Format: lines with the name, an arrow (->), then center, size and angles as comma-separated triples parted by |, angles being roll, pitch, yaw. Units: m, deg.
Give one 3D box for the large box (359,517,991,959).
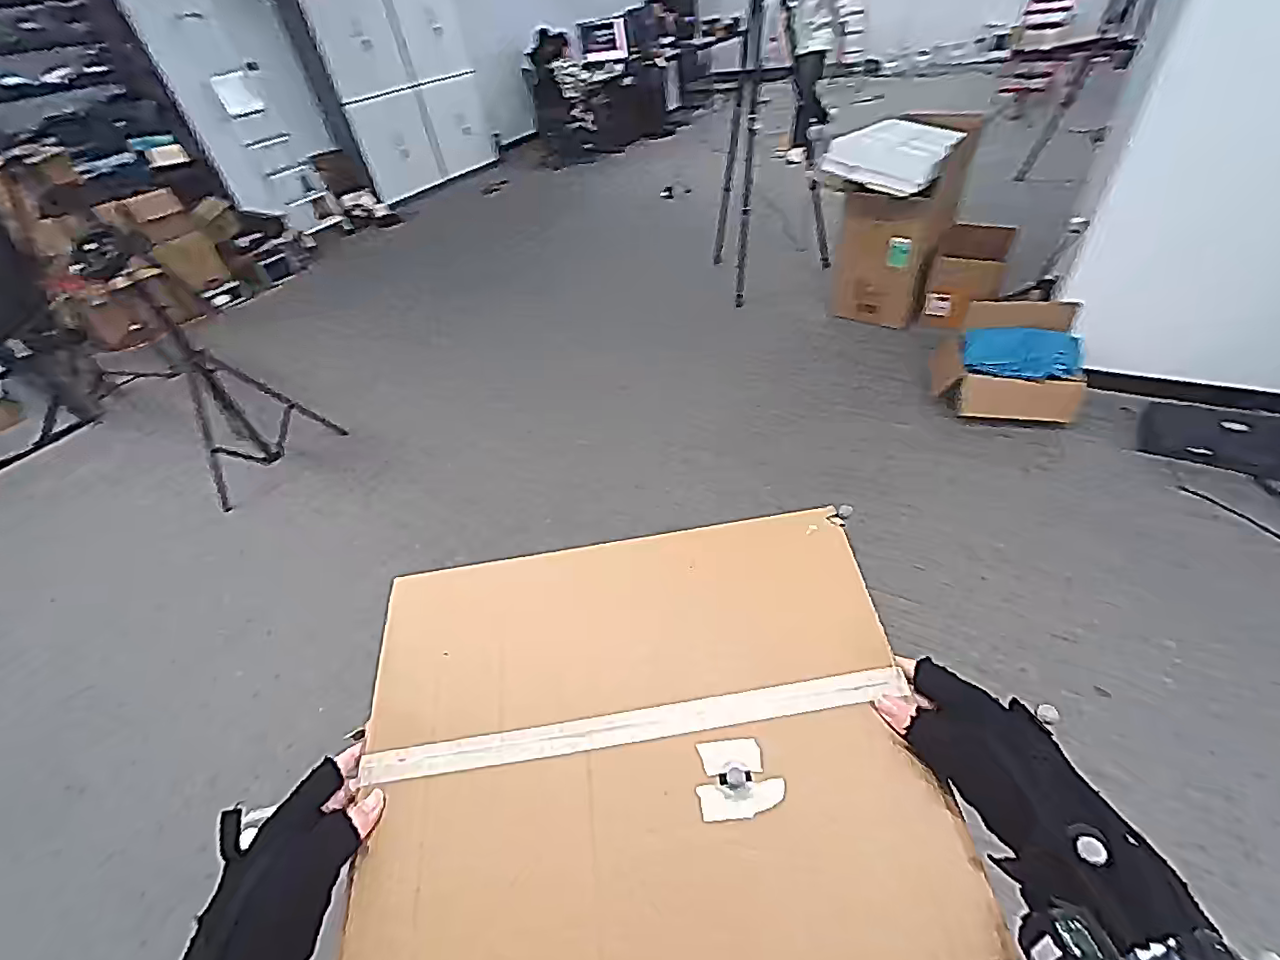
large box -> 0.011, 0.277, 0.531 | 0.408, 0.320, 0.320 | -10, 54, -1
